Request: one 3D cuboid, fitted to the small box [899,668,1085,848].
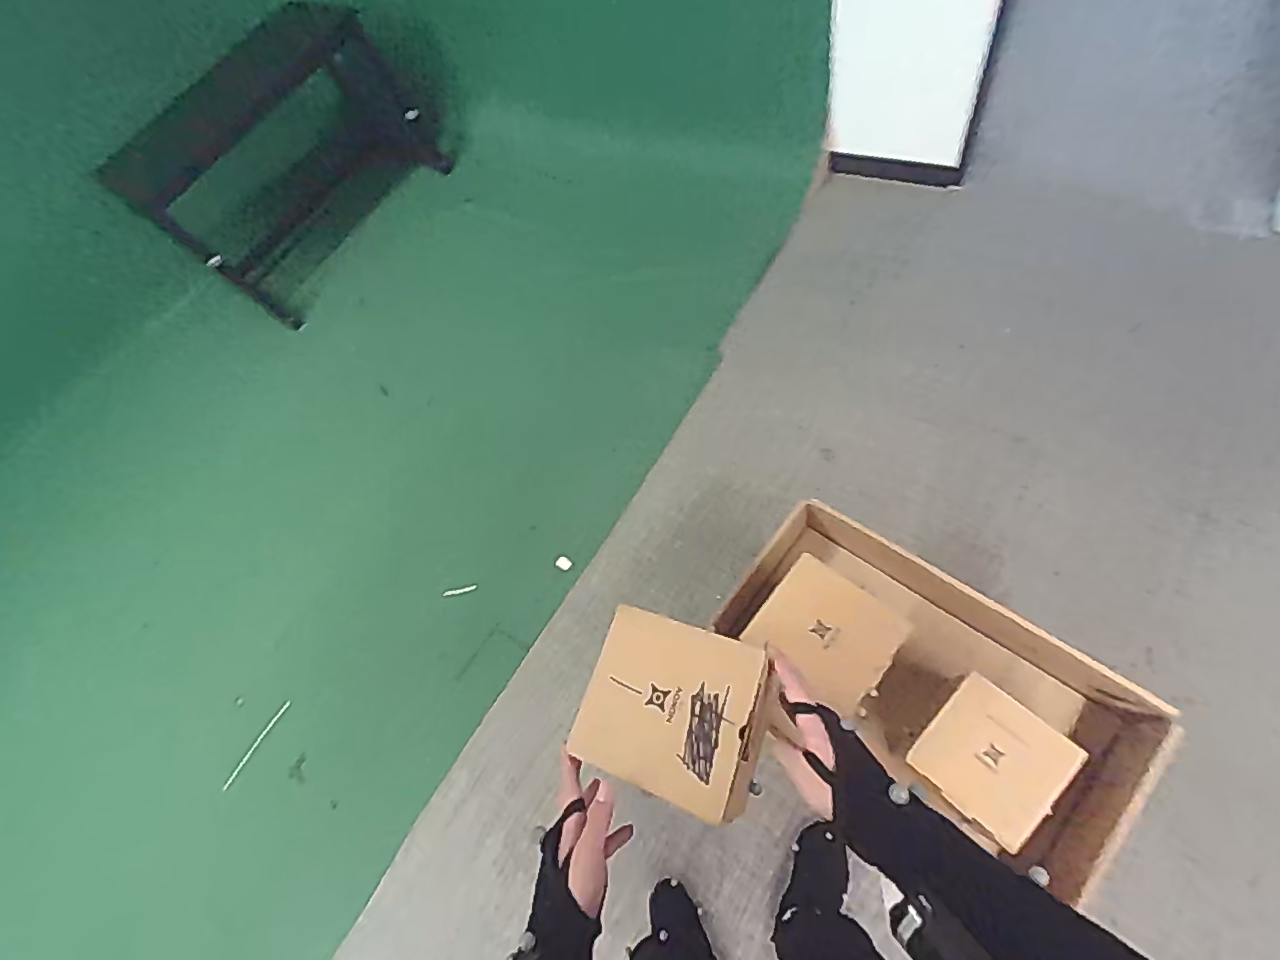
[{"bbox_3d":[0.530,0.423,0.845,0.179,0.176,0.168,-47,61,-5],"label":"small box"}]

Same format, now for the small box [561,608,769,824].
[{"bbox_3d":[0.043,0.267,0.634,0.179,0.176,0.168,12,69,25],"label":"small box"}]

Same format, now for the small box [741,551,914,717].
[{"bbox_3d":[0.280,0.242,0.828,0.179,0.176,0.168,36,82,27],"label":"small box"}]
